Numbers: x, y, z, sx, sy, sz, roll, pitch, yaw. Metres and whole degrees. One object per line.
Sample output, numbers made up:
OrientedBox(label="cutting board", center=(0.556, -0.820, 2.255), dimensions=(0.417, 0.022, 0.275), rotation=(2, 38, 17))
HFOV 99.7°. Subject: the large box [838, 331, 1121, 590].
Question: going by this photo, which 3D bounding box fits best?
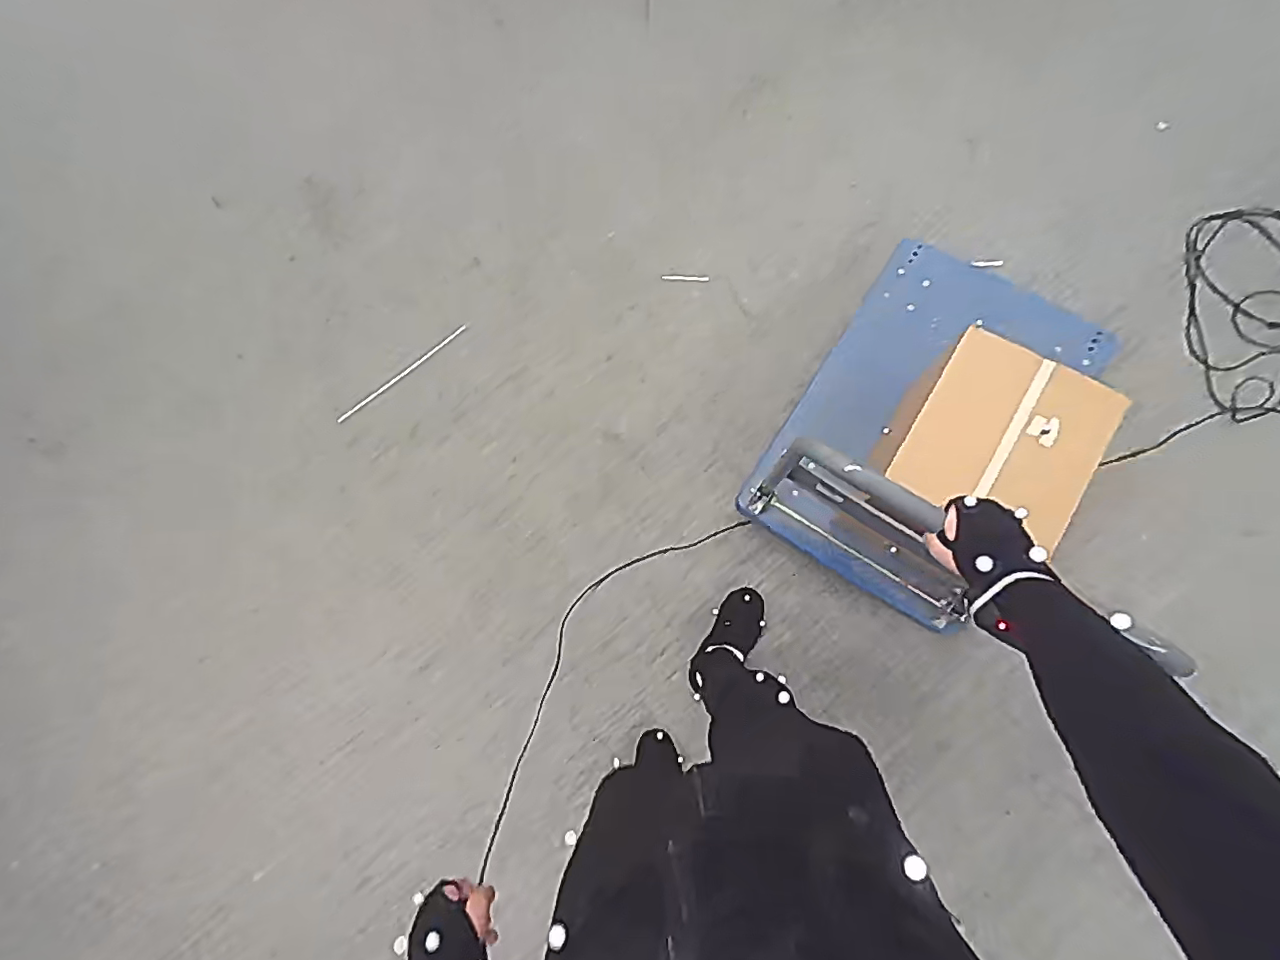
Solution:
OrientedBox(label="large box", center=(0.682, -0.020, 1.149), dimensions=(0.320, 0.320, 0.408), rotation=(31, 81, 10))
